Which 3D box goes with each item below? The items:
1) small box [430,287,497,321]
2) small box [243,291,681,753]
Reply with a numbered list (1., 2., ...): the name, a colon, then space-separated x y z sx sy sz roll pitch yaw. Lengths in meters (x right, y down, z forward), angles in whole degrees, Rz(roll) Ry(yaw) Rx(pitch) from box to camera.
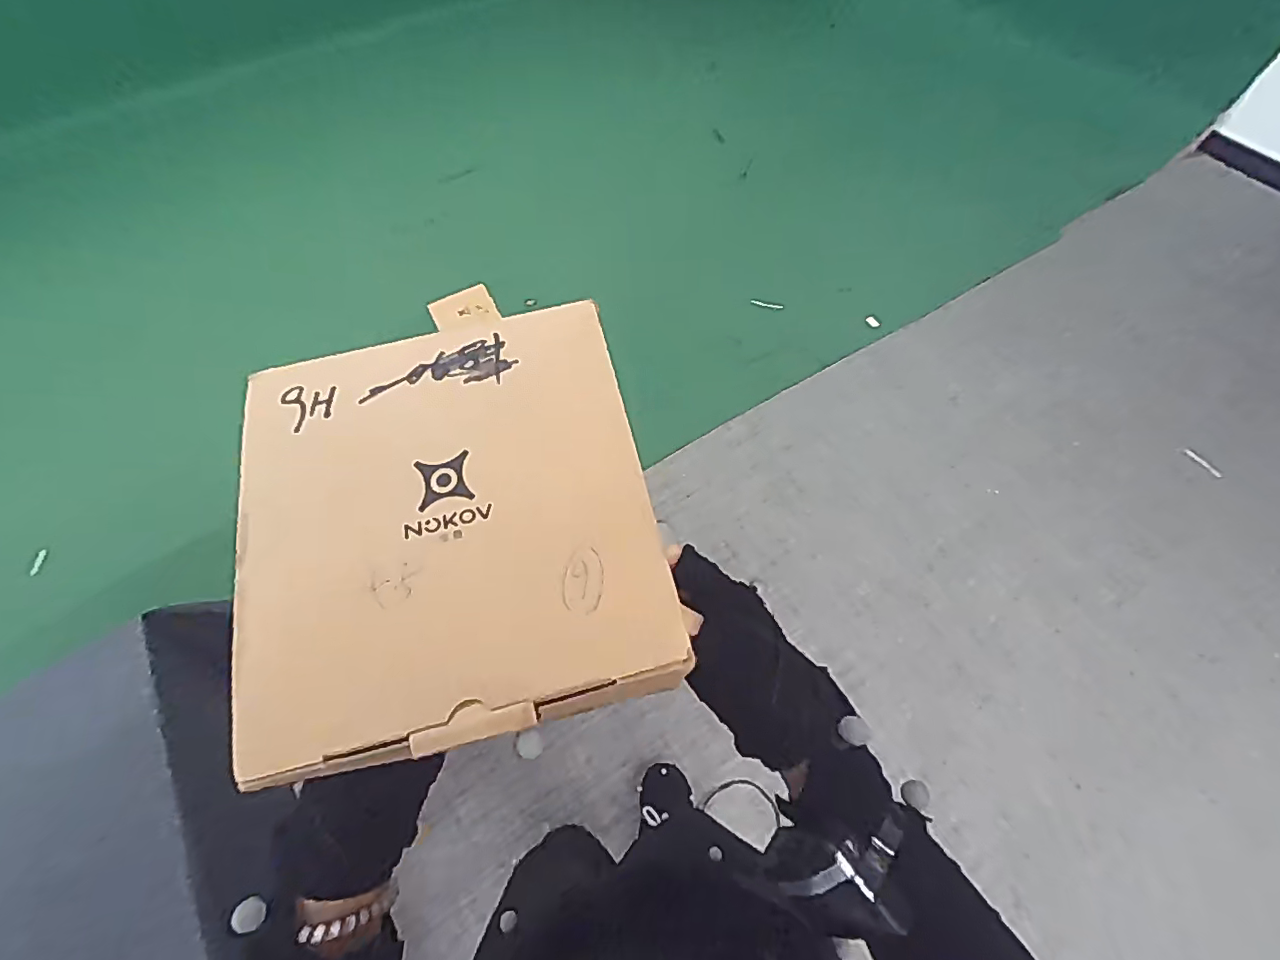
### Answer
1. small box: -0.493 -0.433 1.612 0.179 0.176 0.168 -25 64 -12
2. small box: -0.078 0.032 0.302 0.168 0.176 0.179 -13 67 -5
